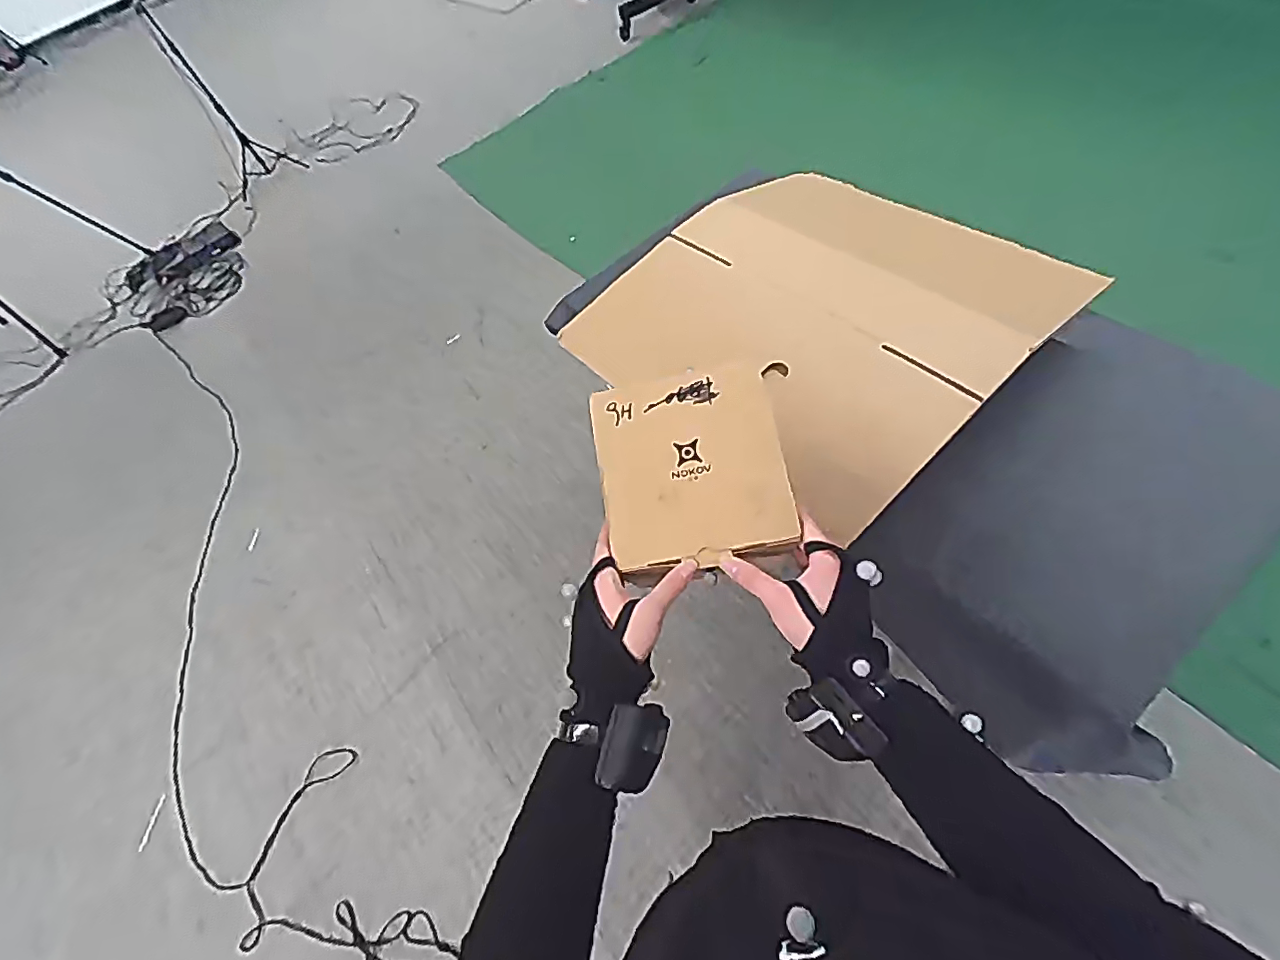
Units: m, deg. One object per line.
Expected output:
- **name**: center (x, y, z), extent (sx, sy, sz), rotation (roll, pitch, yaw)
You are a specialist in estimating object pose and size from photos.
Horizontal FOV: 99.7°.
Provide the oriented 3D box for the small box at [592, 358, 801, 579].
- **small box**: center (0.061, 0.003, 0.574), extent (0.168, 0.176, 0.179), rotation (-14, 72, 6)
